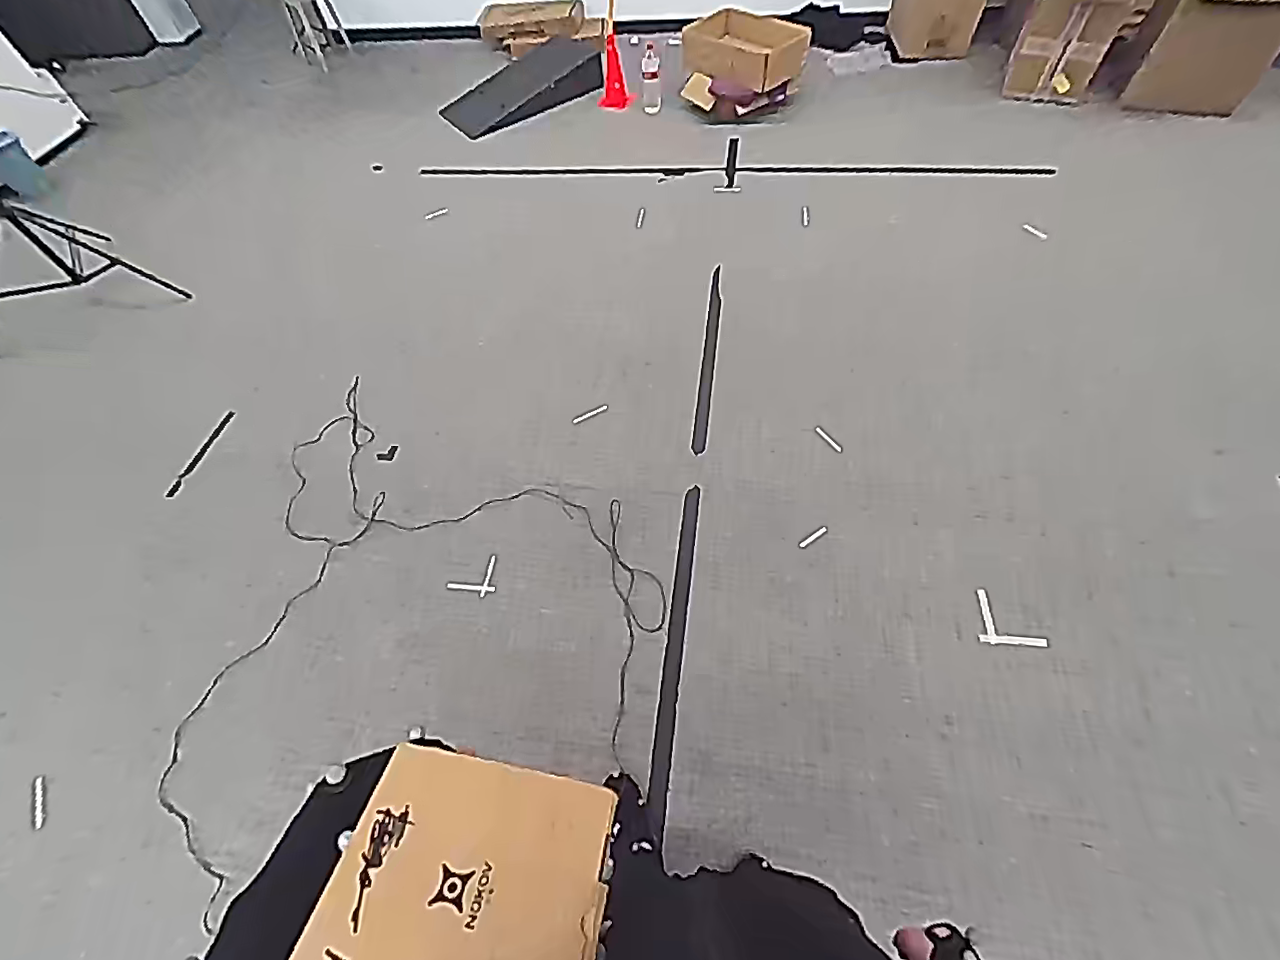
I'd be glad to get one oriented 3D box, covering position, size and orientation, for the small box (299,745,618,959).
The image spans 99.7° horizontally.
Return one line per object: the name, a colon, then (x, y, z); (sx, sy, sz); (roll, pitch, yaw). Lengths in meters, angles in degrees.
small box: (-0.127, 0.339, 0.413); (0.179, 0.176, 0.168); (13, 39, 2)
